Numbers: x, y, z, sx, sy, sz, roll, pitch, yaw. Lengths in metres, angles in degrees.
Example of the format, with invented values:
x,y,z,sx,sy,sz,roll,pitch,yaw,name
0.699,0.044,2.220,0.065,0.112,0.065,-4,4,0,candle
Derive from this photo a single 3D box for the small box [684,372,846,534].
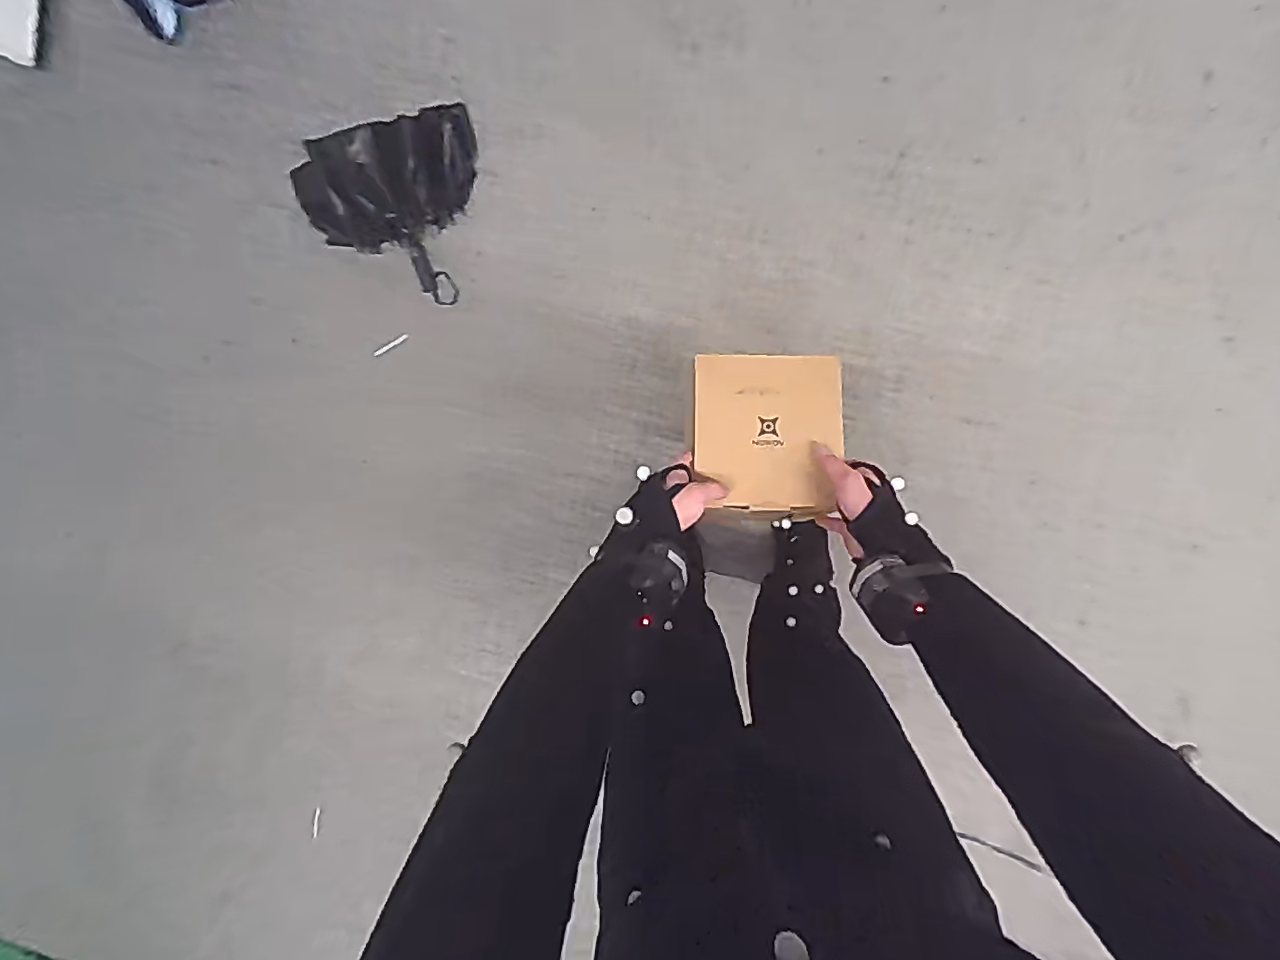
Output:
x,y,z,sx,sy,sz,roll,pitch,yaw,name
0.144,-0.024,0.679,0.168,0.176,0.179,0,80,0,small box
